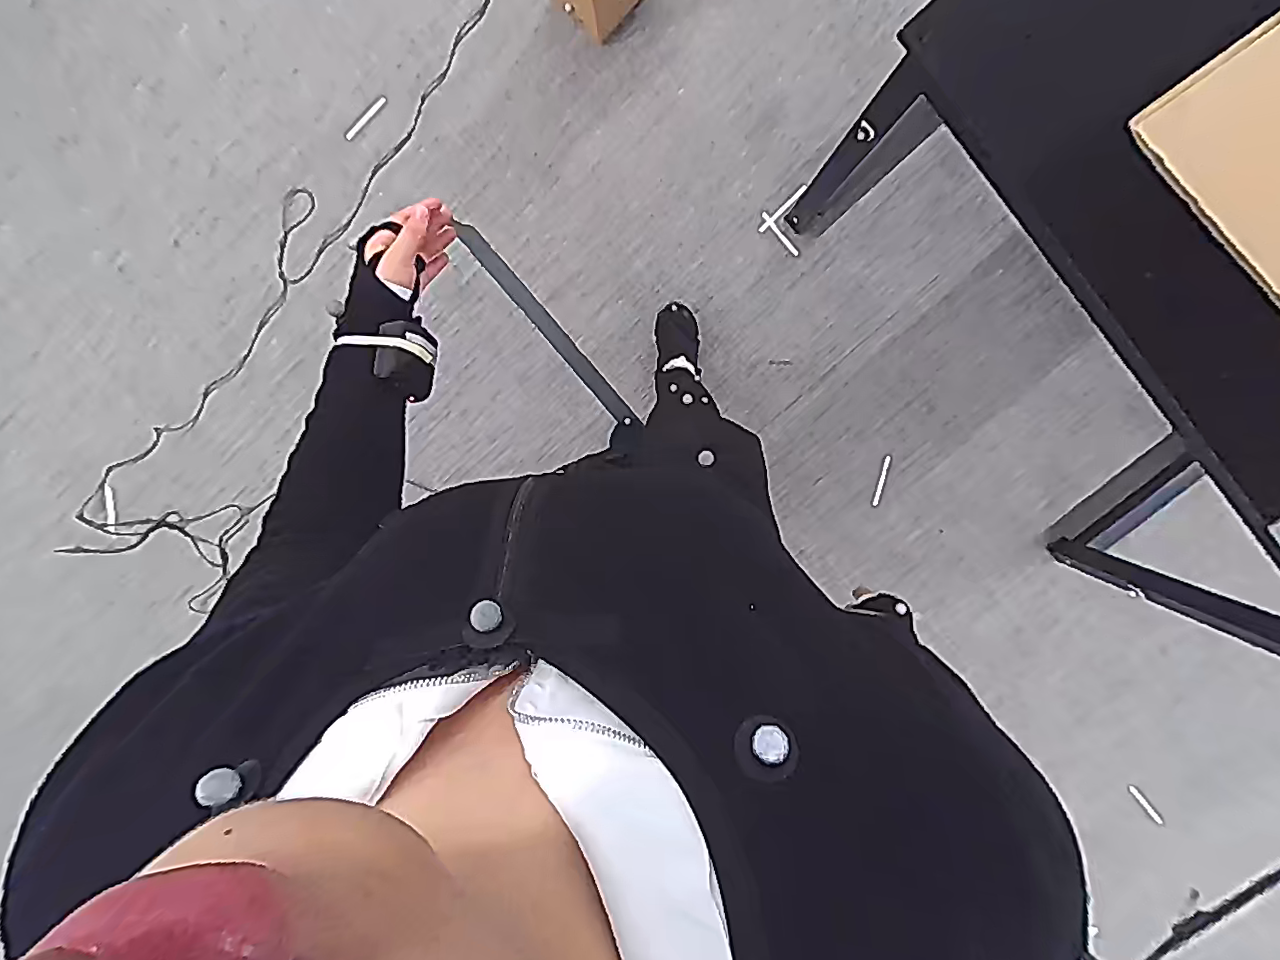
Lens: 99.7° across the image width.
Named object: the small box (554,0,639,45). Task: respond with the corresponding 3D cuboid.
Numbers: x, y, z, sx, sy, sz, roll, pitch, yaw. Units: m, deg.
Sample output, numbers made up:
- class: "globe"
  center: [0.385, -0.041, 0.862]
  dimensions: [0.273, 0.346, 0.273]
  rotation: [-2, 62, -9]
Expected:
- class: "small box"
  center: [-0.100, -1.153, 1.216]
  dimensions: [0.168, 0.176, 0.179]
  rotation: [45, 99, -5]
